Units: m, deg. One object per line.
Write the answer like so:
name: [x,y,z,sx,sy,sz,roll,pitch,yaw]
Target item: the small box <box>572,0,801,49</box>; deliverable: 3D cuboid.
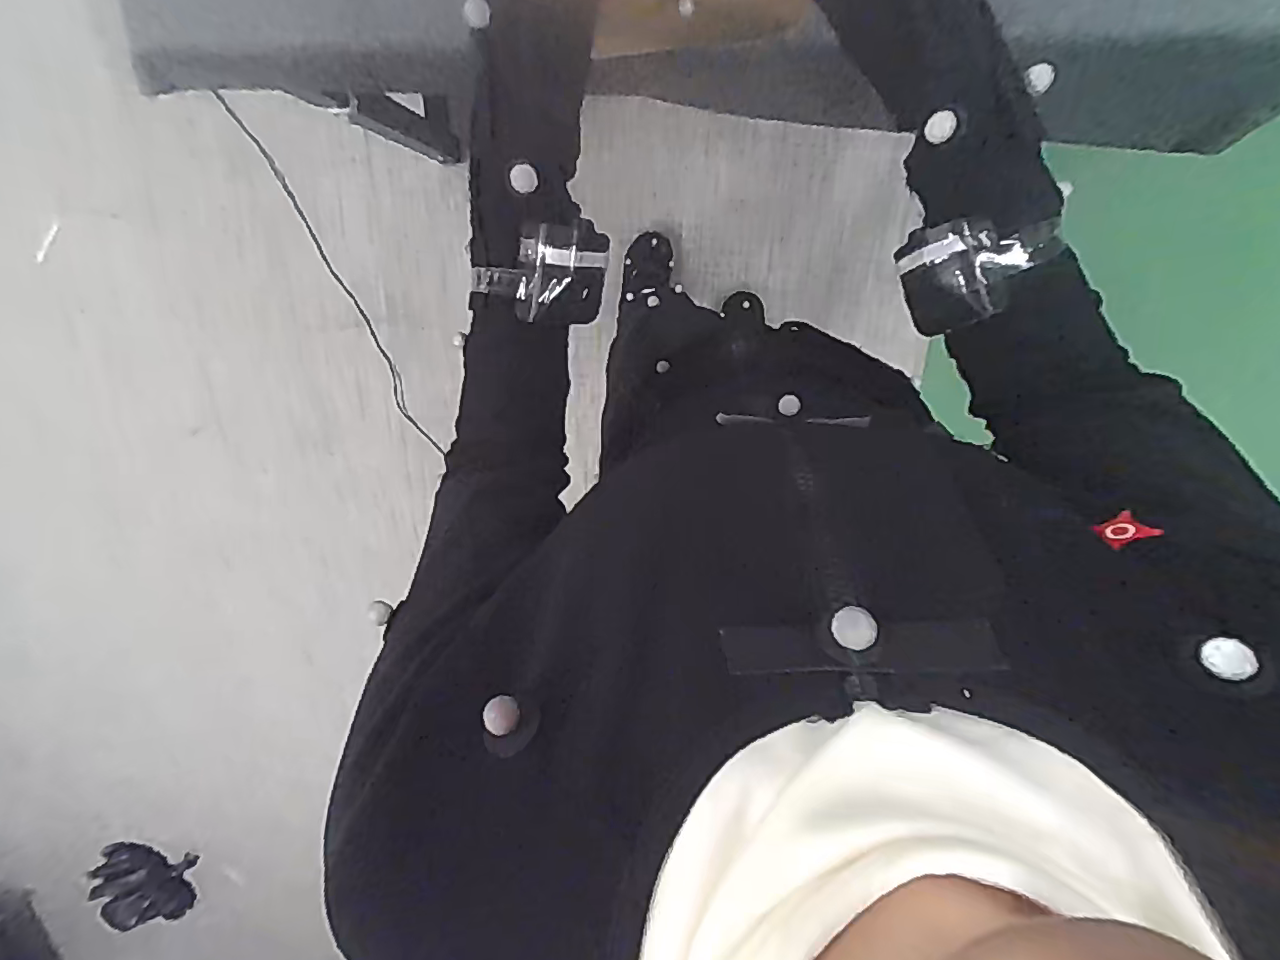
small box: [0.030,-0.403,0.341,0.179,0.176,0.168,-4,115,5]
